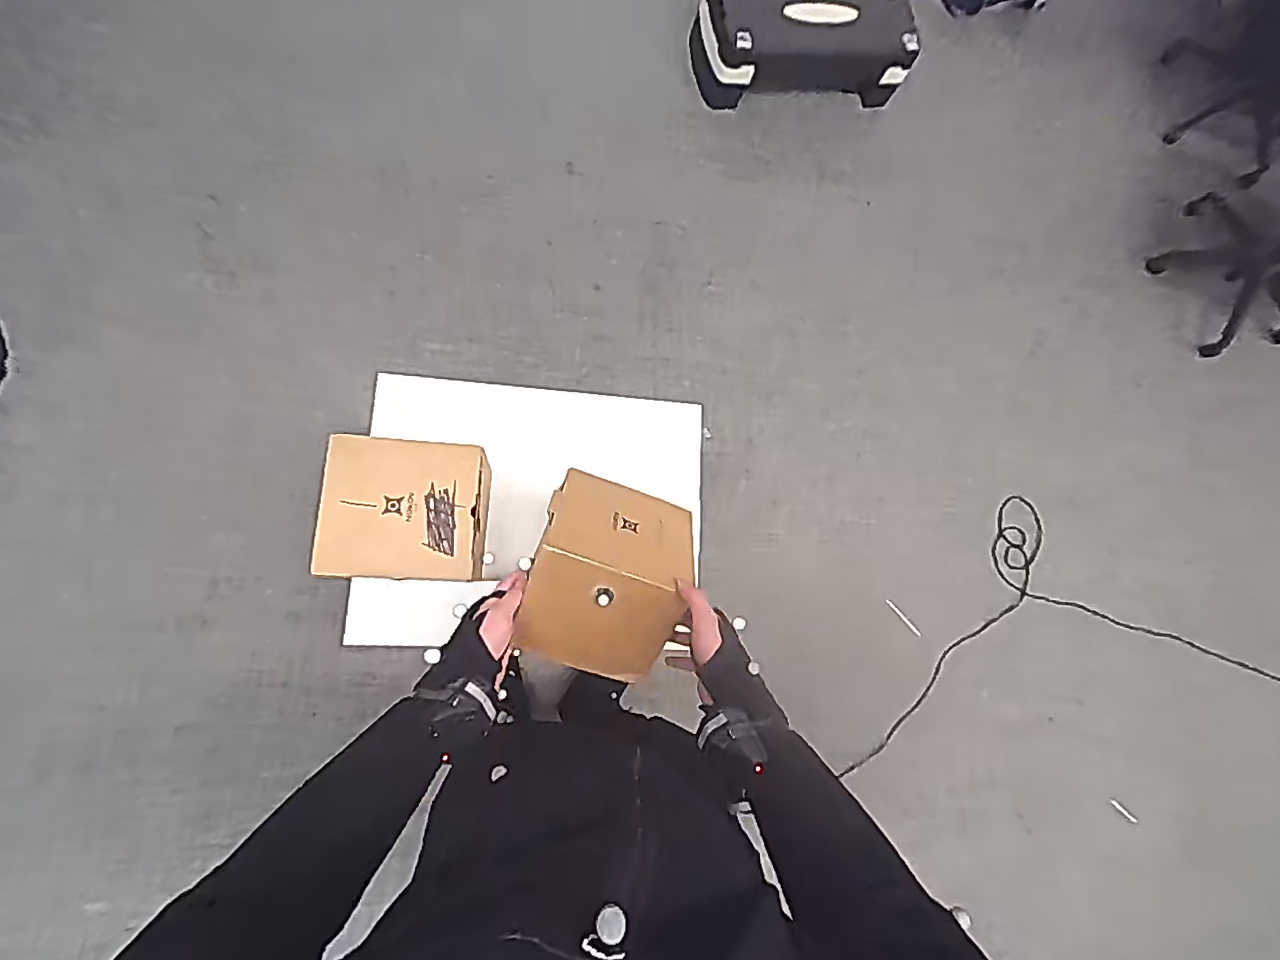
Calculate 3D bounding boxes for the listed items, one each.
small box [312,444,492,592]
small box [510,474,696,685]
[{"bbox_3d":[-0.294,0.057,0.710,0.179,0.176,0.168,4,79,-10],"label":"small box"},{"bbox_3d":[-0.045,0.126,0.676,0.179,0.168,0.176,21,120,-9],"label":"small box"}]
